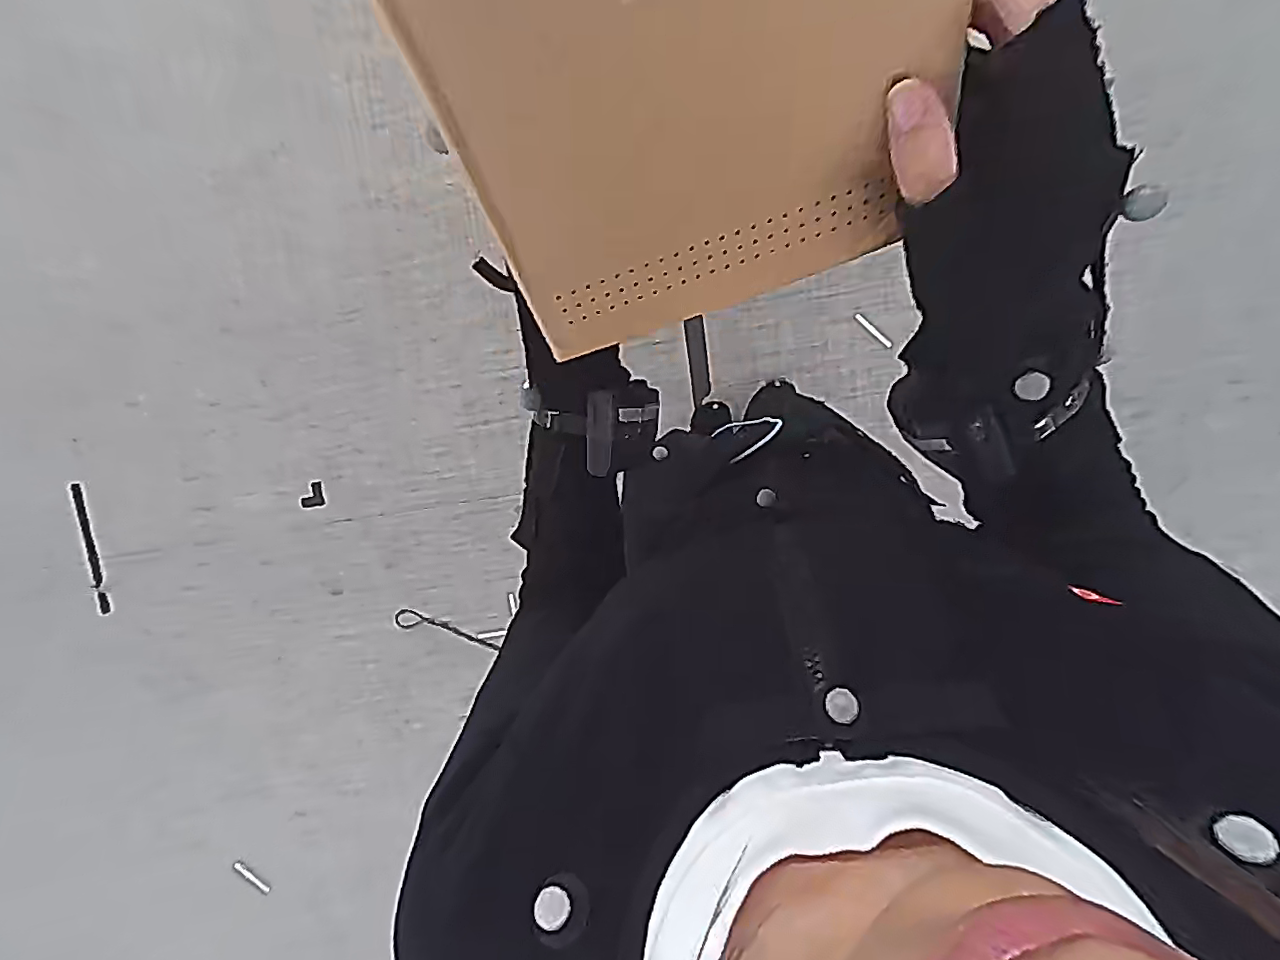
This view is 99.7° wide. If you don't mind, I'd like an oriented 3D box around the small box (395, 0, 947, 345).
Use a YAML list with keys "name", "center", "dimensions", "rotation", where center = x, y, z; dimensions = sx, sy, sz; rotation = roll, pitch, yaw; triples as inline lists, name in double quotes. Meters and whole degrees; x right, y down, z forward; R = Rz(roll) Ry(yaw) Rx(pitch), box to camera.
- name: "small box"
  center: [0.012, -0.187, 0.234]
  dimensions: [0.179, 0.168, 0.176]
  rotation: [-18, 139, 6]
